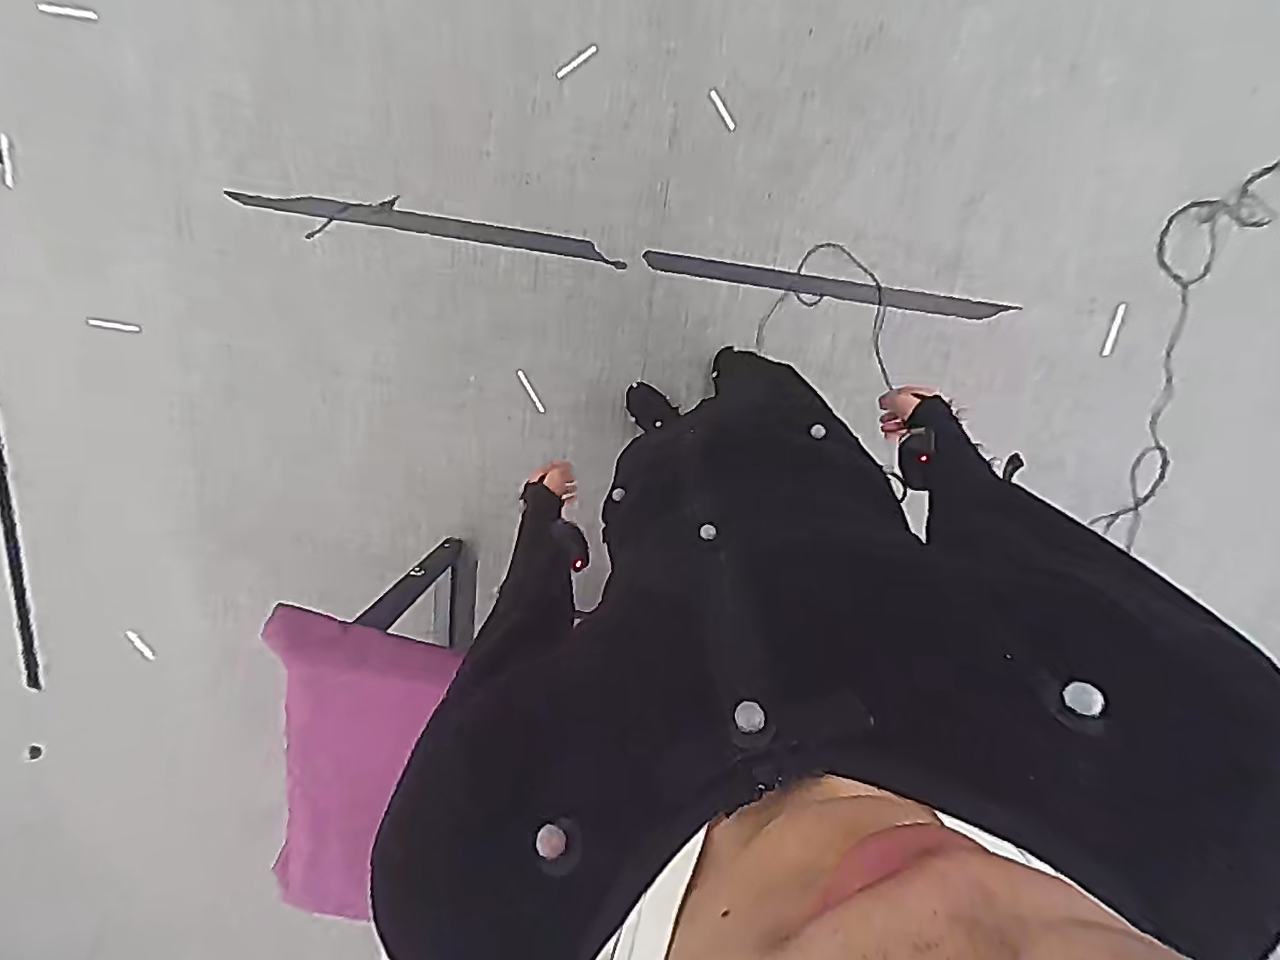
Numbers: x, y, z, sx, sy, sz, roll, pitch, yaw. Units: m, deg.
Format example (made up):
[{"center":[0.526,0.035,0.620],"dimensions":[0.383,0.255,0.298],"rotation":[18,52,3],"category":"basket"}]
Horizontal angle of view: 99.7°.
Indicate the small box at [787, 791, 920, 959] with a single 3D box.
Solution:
[{"center":[0.366,0.700,0.962],"dimensions":[0.168,0.176,0.179],"rotation":[6,104,4],"category":"small box"}]
